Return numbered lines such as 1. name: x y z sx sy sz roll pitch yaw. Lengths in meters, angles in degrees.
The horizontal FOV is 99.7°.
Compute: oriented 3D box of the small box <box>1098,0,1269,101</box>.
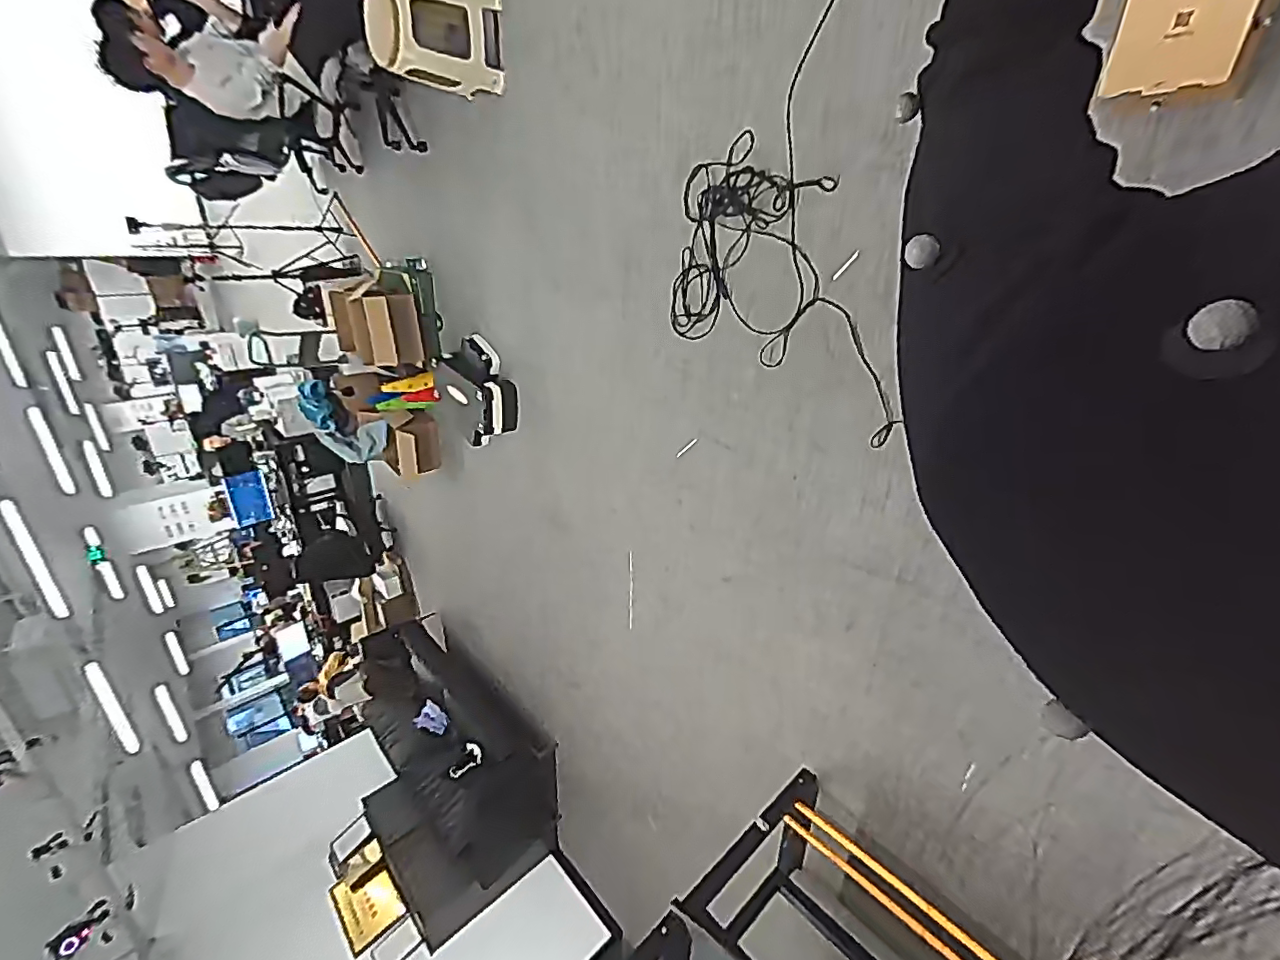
1. small box: 0.906 -0.756 0.895 0.168 0.176 0.179 26 124 42
